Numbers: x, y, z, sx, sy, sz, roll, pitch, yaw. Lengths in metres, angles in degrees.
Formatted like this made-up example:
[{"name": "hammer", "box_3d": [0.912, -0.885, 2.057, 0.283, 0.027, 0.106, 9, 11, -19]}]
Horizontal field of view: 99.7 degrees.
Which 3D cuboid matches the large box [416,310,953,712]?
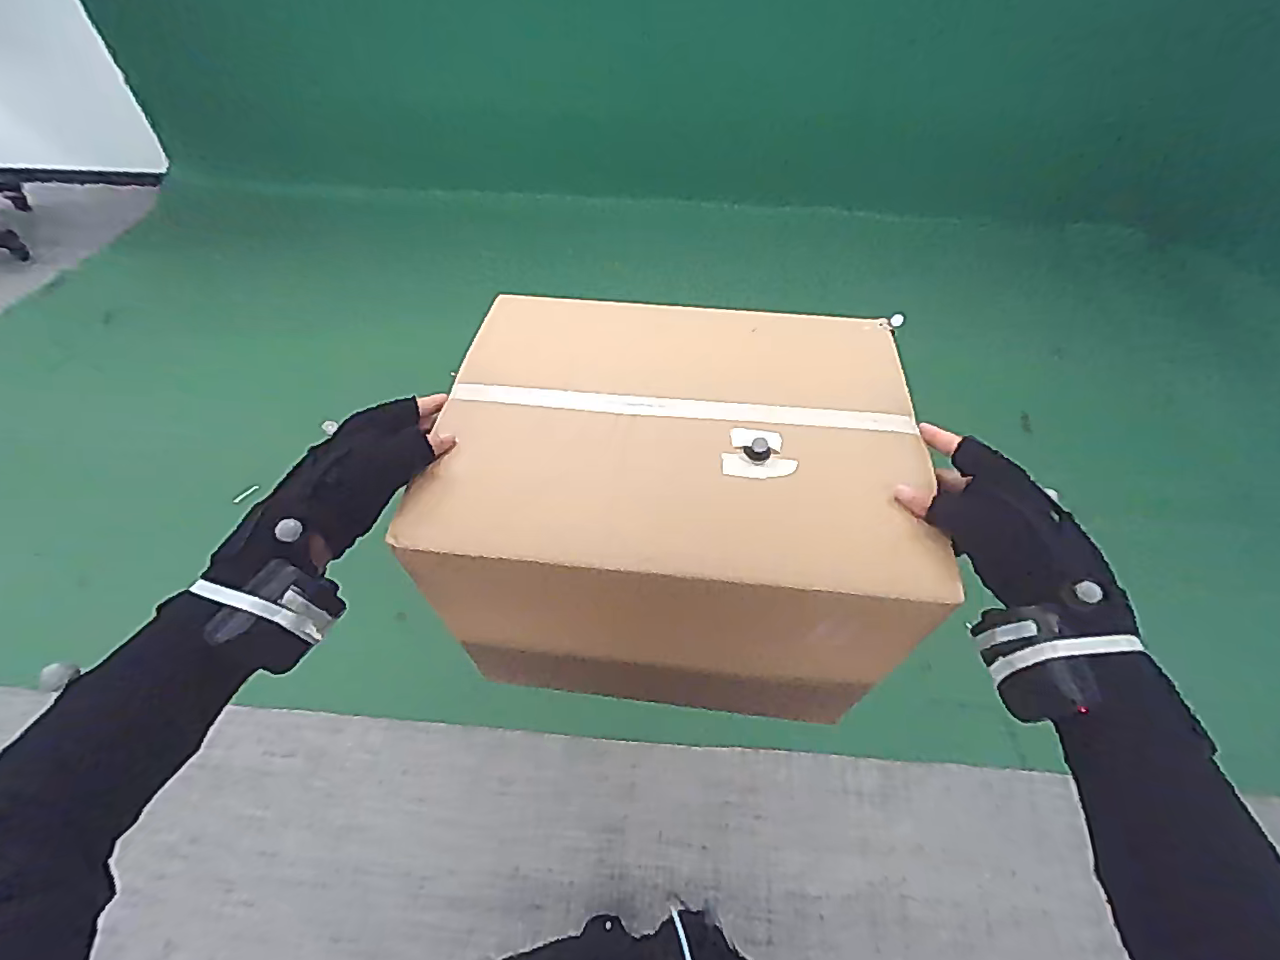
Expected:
[{"name": "large box", "box_3d": [0.038, 0.041, 0.600, 0.408, 0.320, 0.320, 5, 53, 3]}]
